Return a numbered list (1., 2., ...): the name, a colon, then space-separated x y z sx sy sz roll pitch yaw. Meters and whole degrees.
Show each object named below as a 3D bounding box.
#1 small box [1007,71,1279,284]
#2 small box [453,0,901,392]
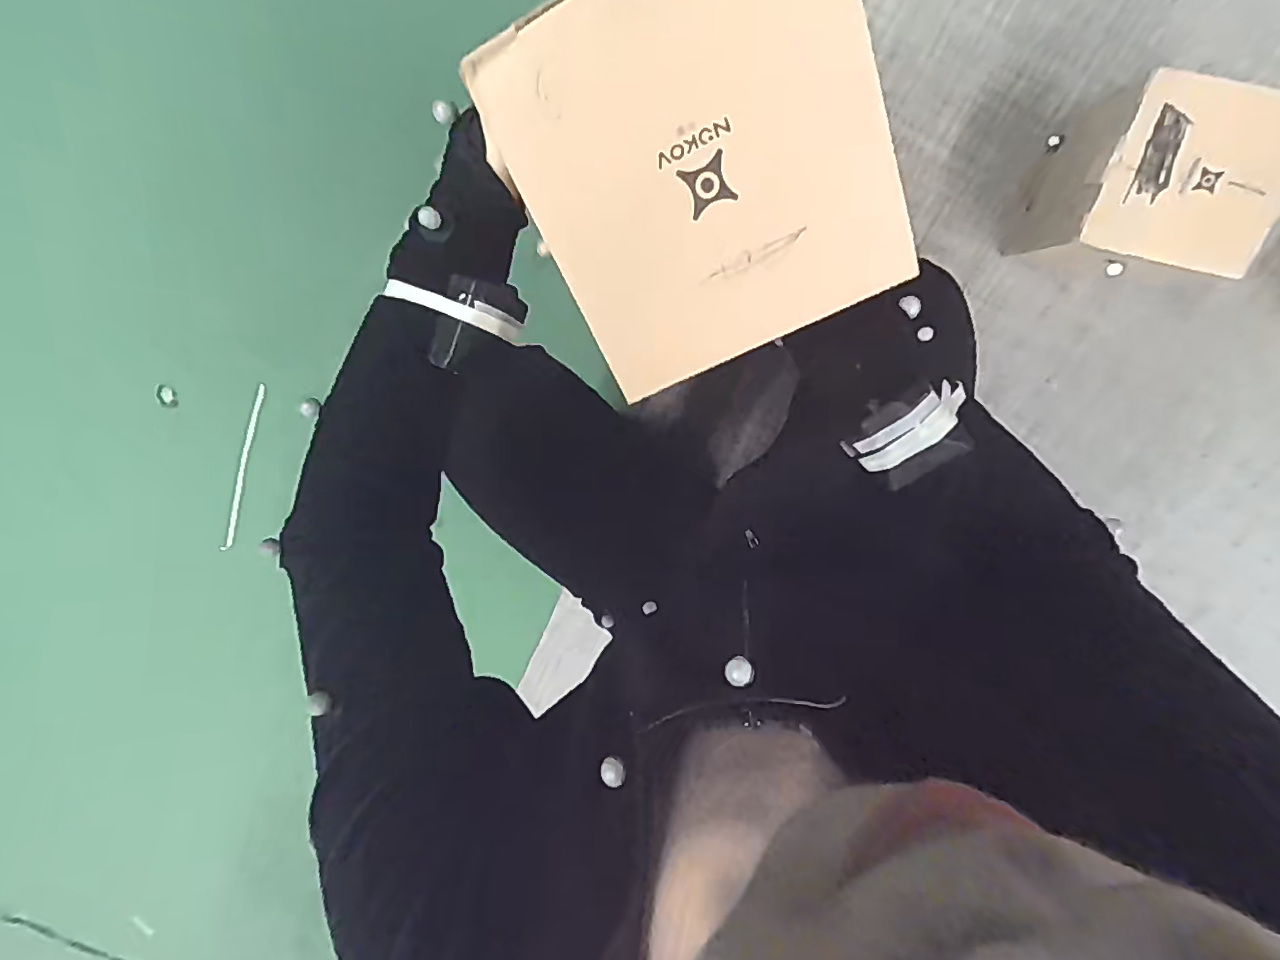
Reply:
1. small box: 0.579 -0.332 0.630 0.179 0.176 0.168 15 109 4
2. small box: 0.025 -0.184 0.325 0.168 0.176 0.179 -22 117 13
